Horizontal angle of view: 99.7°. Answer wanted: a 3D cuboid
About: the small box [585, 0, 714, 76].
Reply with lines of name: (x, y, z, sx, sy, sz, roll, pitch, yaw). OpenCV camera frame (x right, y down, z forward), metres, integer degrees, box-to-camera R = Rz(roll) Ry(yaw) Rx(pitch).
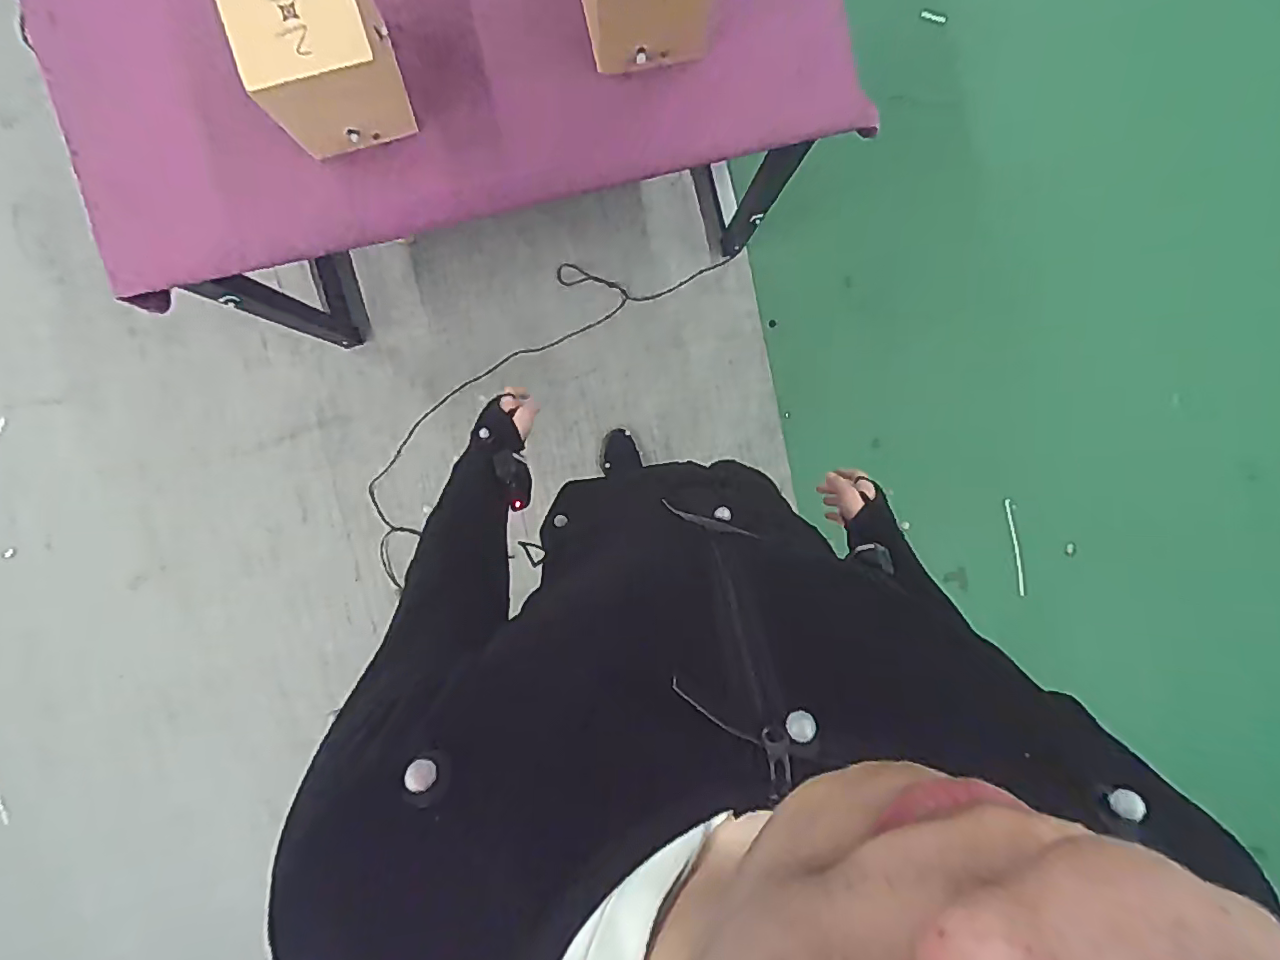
small box: (0.004, -0.725, 0.761, 0.168, 0.176, 0.179, -12, 94, 0)
